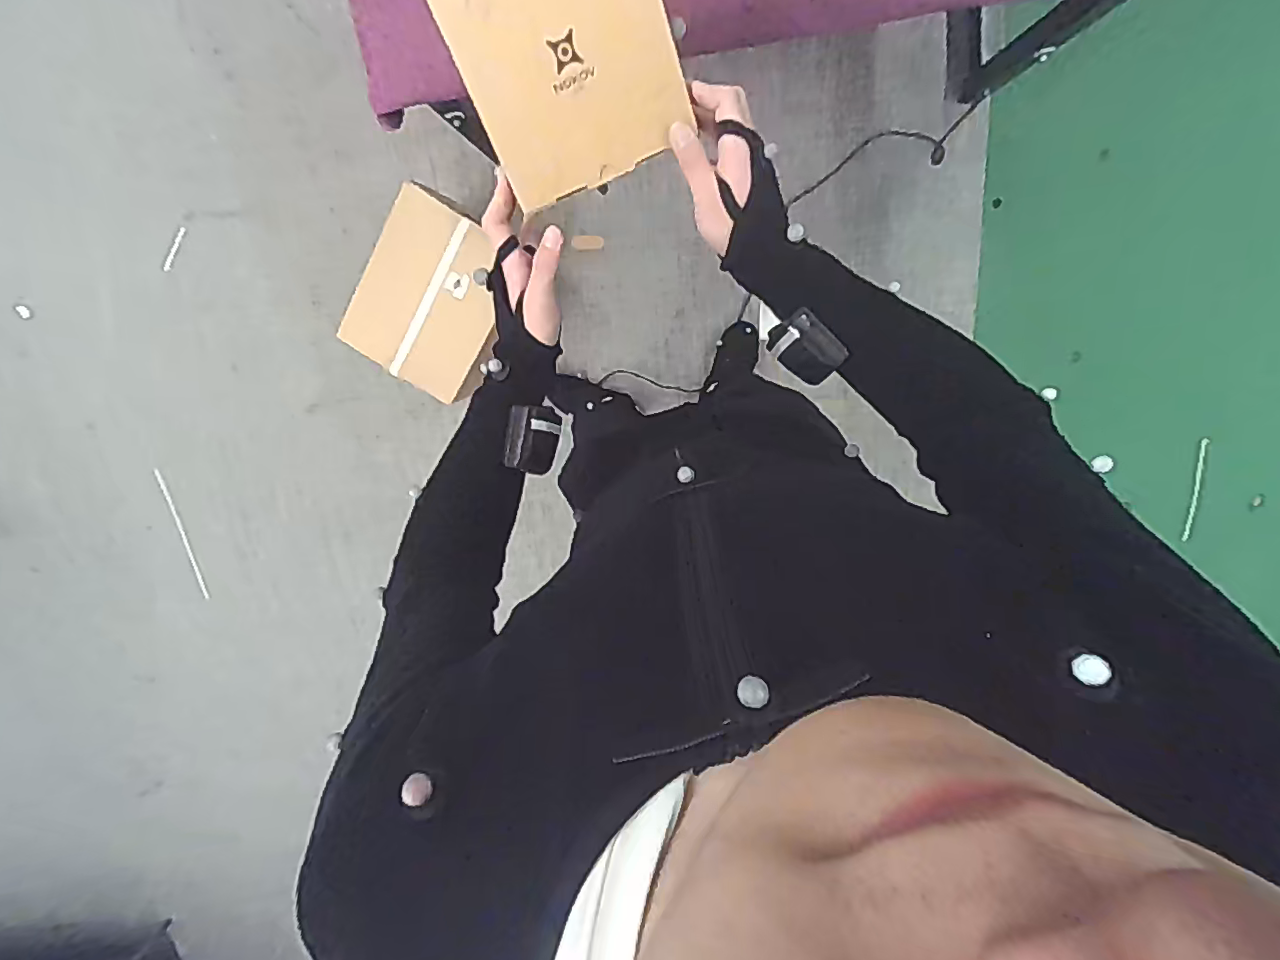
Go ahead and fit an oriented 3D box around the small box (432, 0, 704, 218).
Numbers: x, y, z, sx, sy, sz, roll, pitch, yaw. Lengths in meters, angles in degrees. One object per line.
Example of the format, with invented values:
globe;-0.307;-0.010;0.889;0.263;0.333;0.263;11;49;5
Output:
small box;-0.057;-0.360;0.484;0.168;0.176;0.179;-20;121;8

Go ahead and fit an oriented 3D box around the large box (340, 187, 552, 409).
large box;-0.478;-0.445;1.393;0.320;0.320;0.408;32;105;-7
